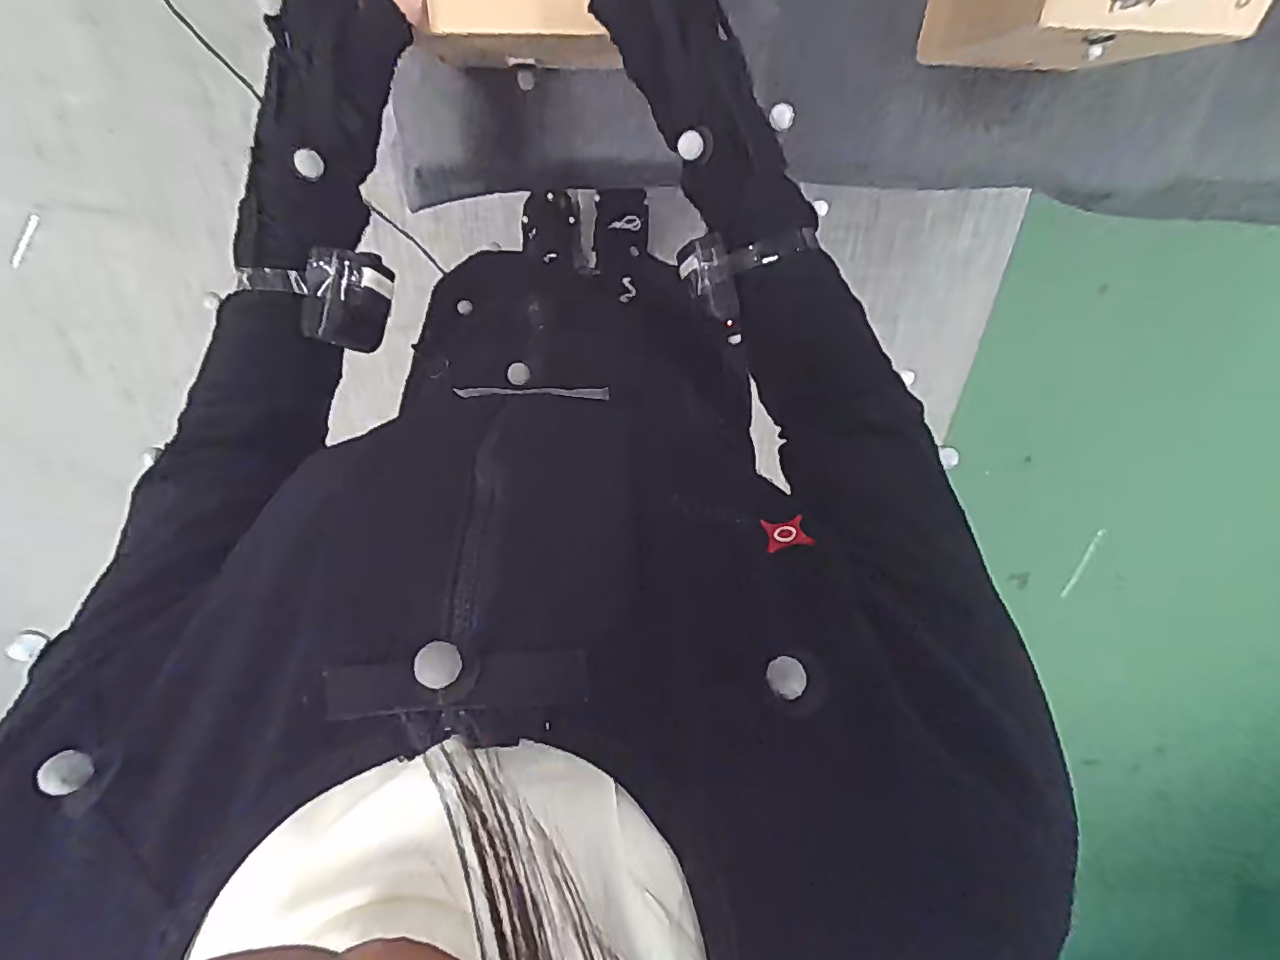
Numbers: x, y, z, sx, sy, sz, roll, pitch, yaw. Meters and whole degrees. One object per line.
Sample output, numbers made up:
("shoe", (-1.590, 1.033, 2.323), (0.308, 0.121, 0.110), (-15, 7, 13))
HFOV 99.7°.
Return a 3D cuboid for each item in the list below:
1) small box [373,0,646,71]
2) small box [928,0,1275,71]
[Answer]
("small box", (-0.080, -0.393, 0.355), (0.168, 0.176, 0.179), (0, 121, -3))
("small box", (0.348, -0.427, 0.399), (0.168, 0.176, 0.179), (-1, 120, -4))
